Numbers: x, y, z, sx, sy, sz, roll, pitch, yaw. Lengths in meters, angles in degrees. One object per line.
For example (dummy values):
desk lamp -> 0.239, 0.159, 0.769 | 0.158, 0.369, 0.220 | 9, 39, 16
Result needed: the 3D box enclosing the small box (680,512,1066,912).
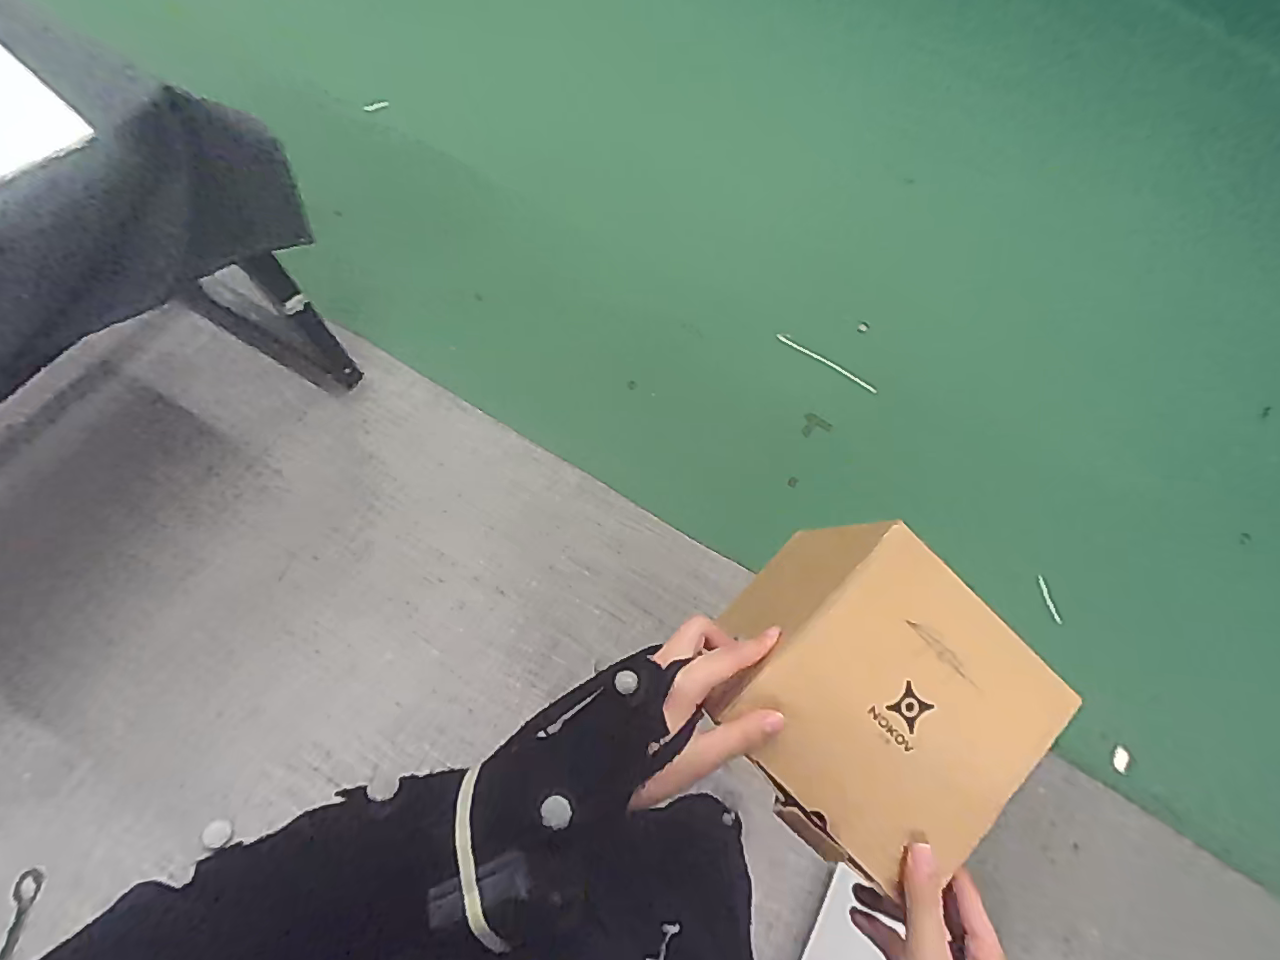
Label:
small box -> 0.147, 0.148, 0.409 | 0.168, 0.176, 0.179 | 44, 78, 1
